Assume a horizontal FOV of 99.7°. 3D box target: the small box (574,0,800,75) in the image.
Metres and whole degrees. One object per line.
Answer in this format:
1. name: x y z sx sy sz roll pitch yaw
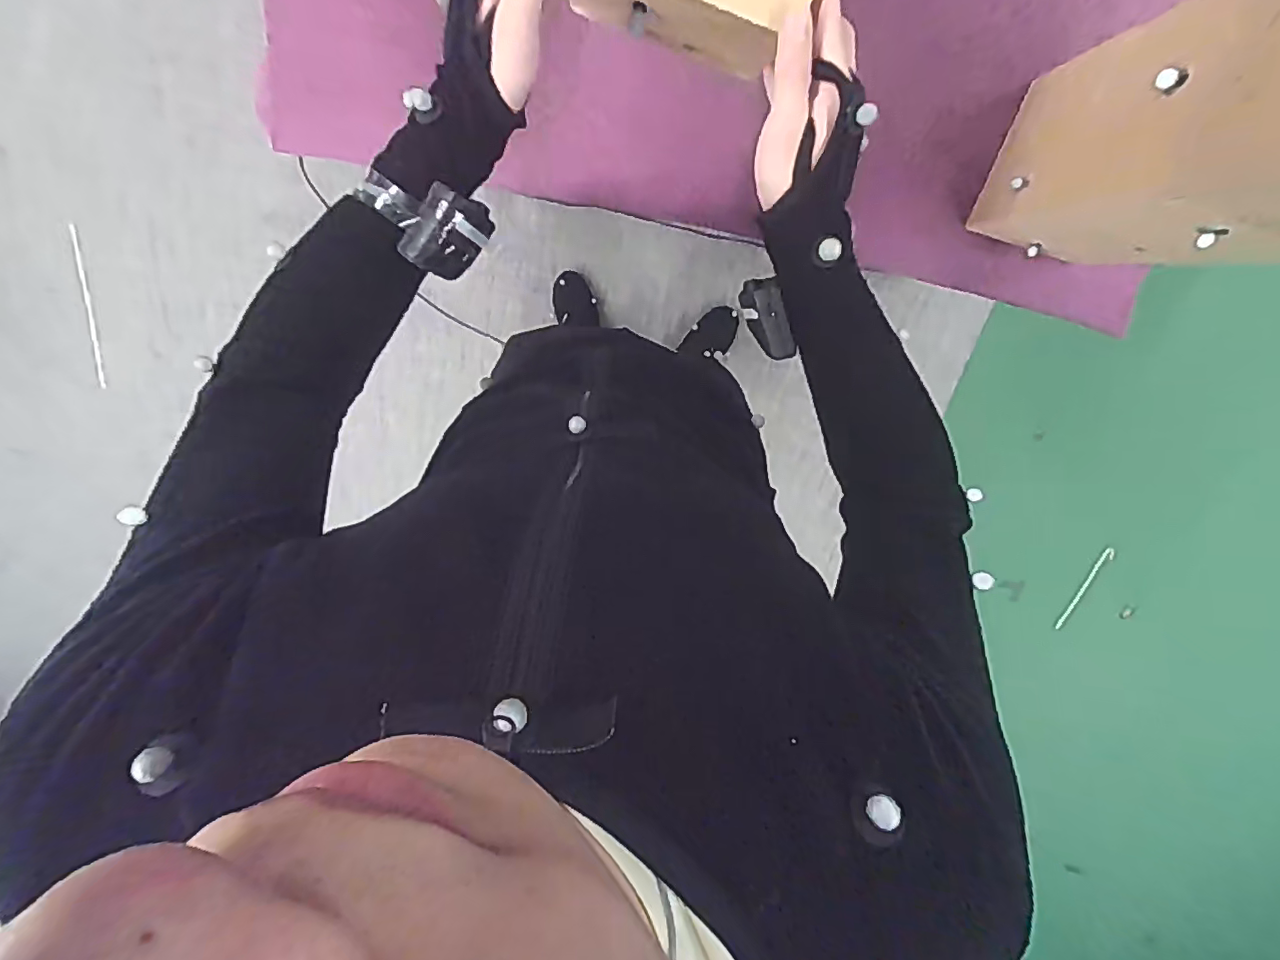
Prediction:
1. small box: 0.041 -0.406 0.360 0.168 0.176 0.179 15 117 -8
